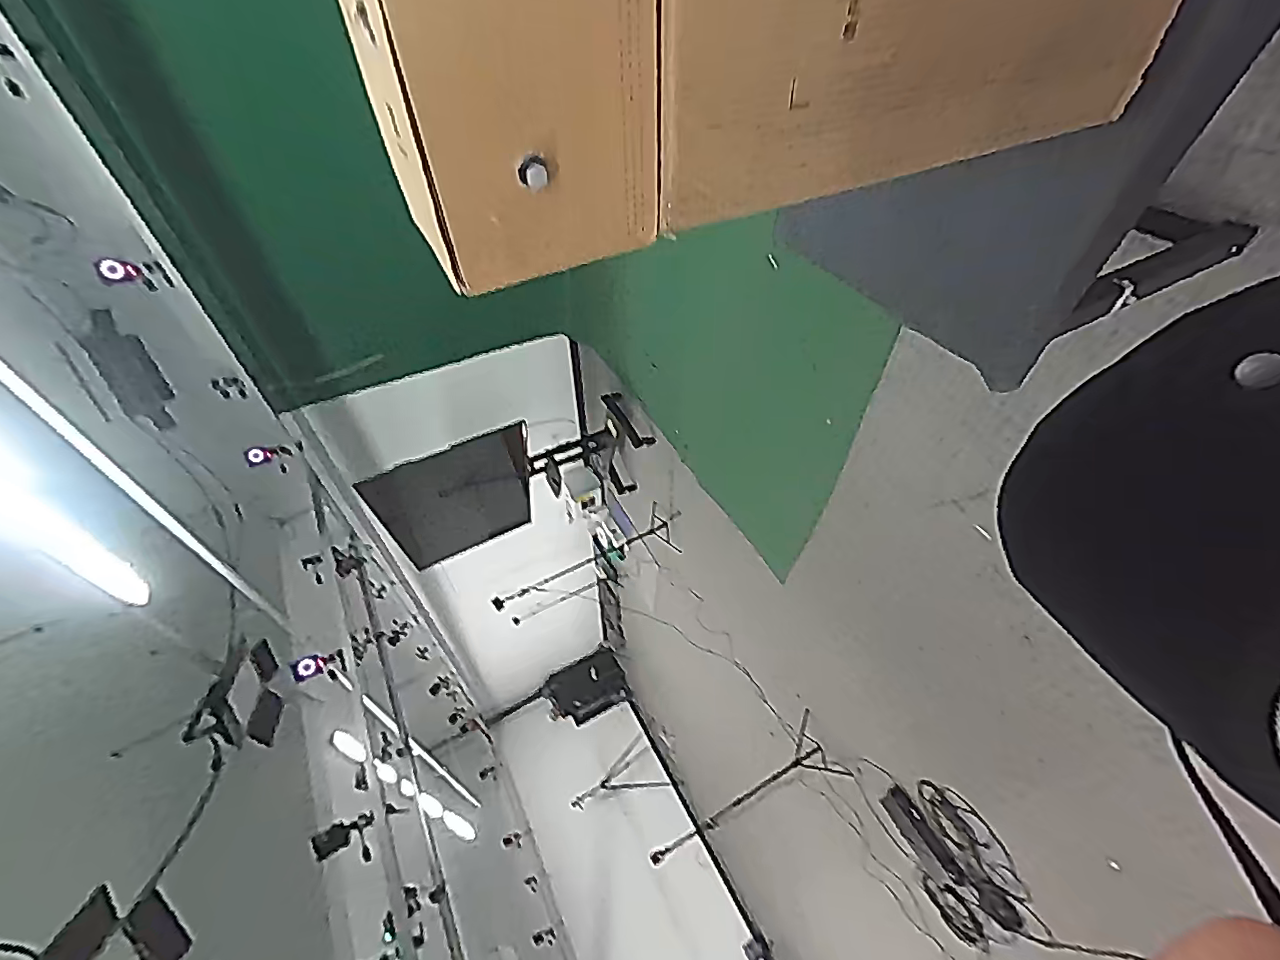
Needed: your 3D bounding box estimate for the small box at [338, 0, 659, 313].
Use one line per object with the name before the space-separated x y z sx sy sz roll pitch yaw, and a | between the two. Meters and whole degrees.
small box | -0.095 -0.264 0.414 0.168 0.176 0.179 51 157 36
